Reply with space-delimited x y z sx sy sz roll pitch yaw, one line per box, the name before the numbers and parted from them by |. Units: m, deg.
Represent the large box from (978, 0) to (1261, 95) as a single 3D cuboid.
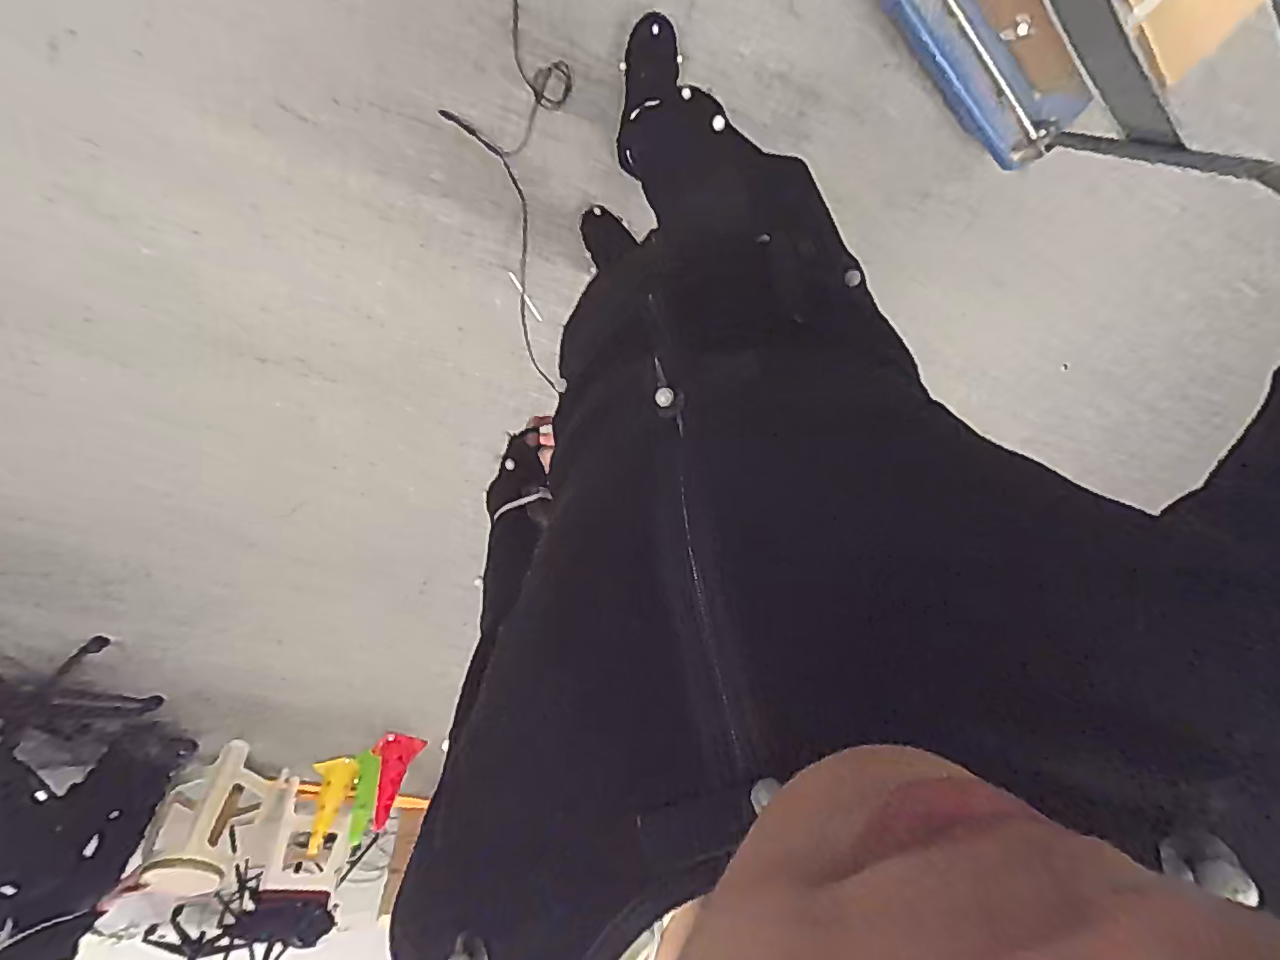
large box | 0.857 -0.930 0.876 0.320 0.320 0.408 30 115 -25
